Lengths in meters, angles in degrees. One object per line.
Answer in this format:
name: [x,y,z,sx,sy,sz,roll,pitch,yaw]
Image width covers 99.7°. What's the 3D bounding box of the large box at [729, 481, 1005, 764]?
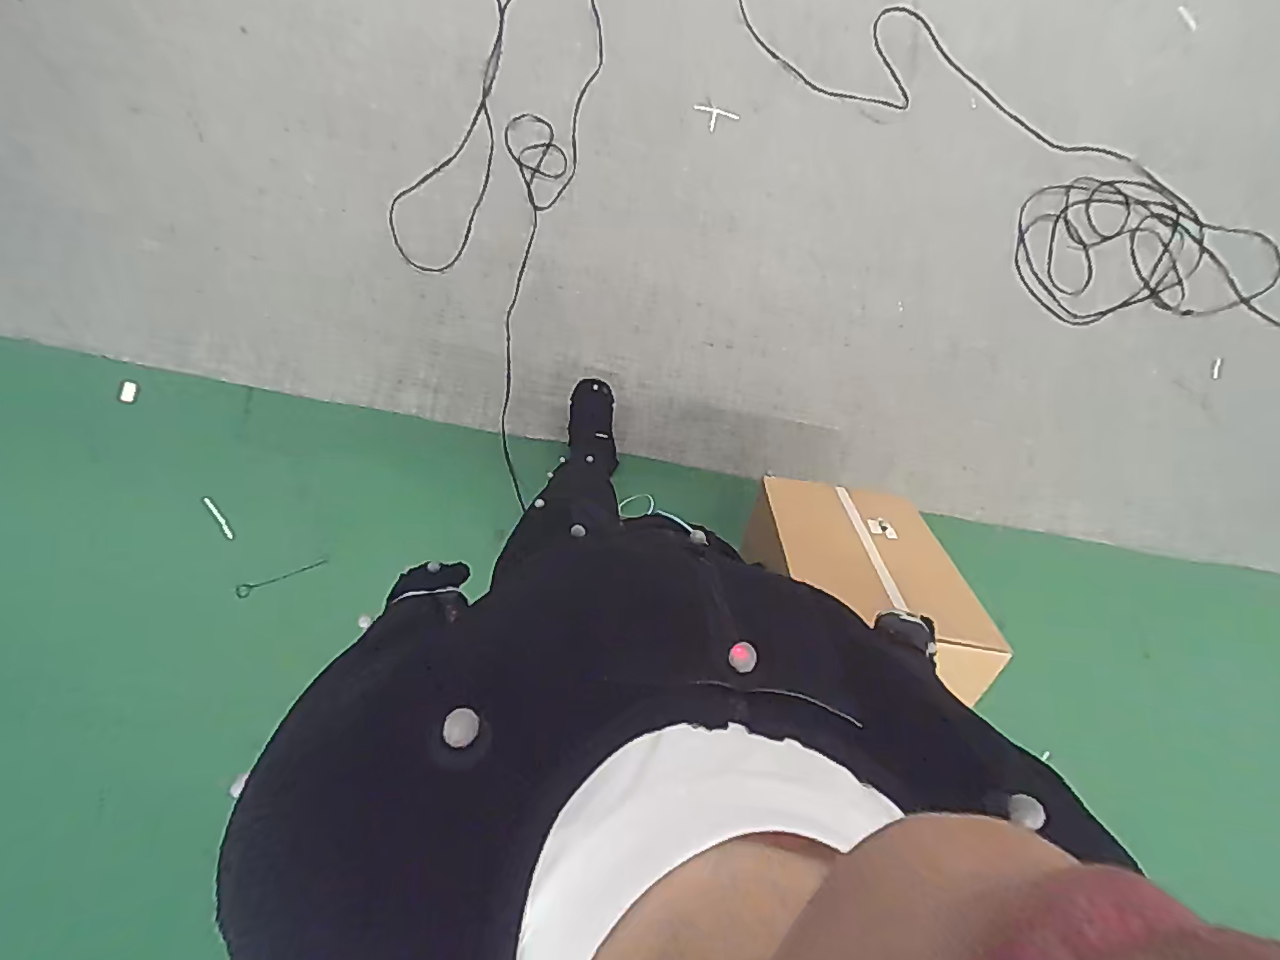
large box: [0.369,0.250,1.020,0.320,0.408,0.320,10,120,-3]
